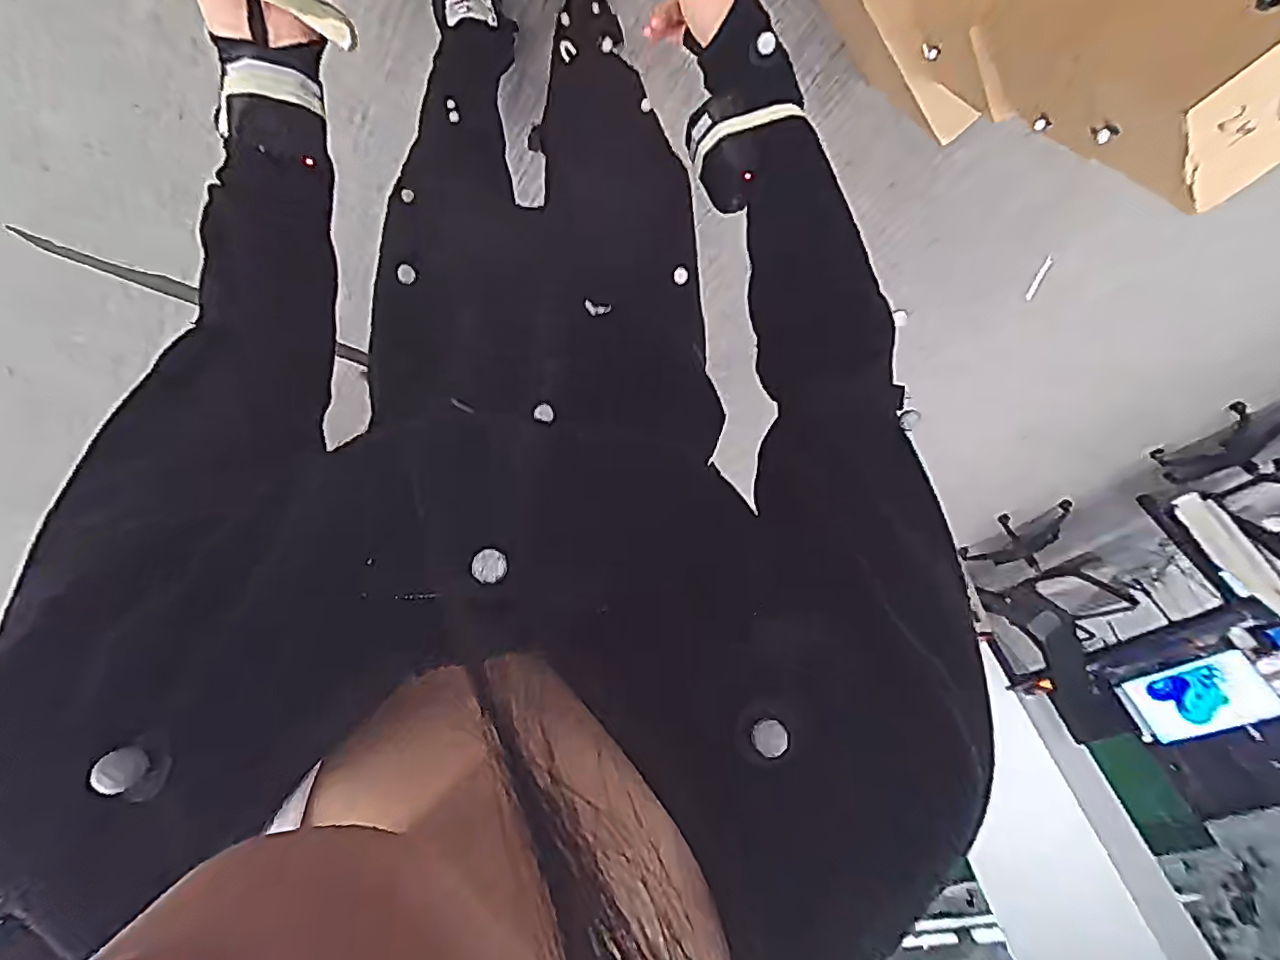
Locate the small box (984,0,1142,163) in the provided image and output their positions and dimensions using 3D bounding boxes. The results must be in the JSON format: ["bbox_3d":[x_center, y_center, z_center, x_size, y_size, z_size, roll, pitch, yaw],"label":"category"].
[{"bbox_3d":[0.574,-0.551,0.670,0.179,0.176,0.168,22,130,-38],"label":"small box"}]

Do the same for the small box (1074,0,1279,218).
[{"bbox_3d":[0.612,-0.429,0.565,0.168,0.176,0.179,24,130,-39],"label":"small box"}]
